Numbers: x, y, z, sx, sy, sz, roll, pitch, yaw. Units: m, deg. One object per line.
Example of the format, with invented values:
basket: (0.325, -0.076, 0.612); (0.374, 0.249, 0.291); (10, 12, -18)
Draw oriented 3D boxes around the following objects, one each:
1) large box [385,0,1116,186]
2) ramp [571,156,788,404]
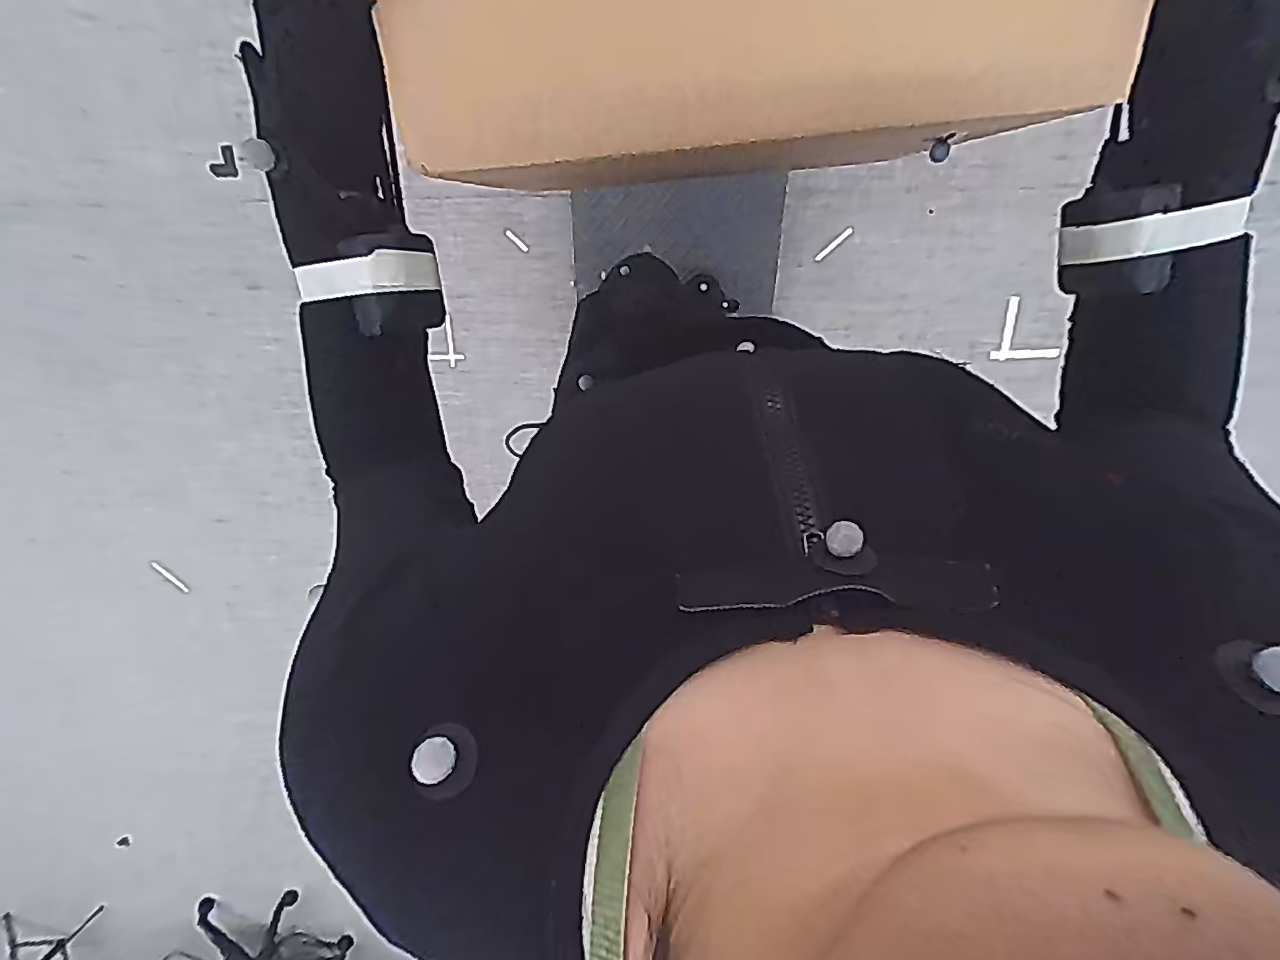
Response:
large box: (0.055, -0.408, 0.388); (0.408, 0.320, 0.320); (-4, 116, 4)
ramp: (0.087, -0.640, 1.251); (0.509, 0.206, 0.991); (-1, 111, 2)
